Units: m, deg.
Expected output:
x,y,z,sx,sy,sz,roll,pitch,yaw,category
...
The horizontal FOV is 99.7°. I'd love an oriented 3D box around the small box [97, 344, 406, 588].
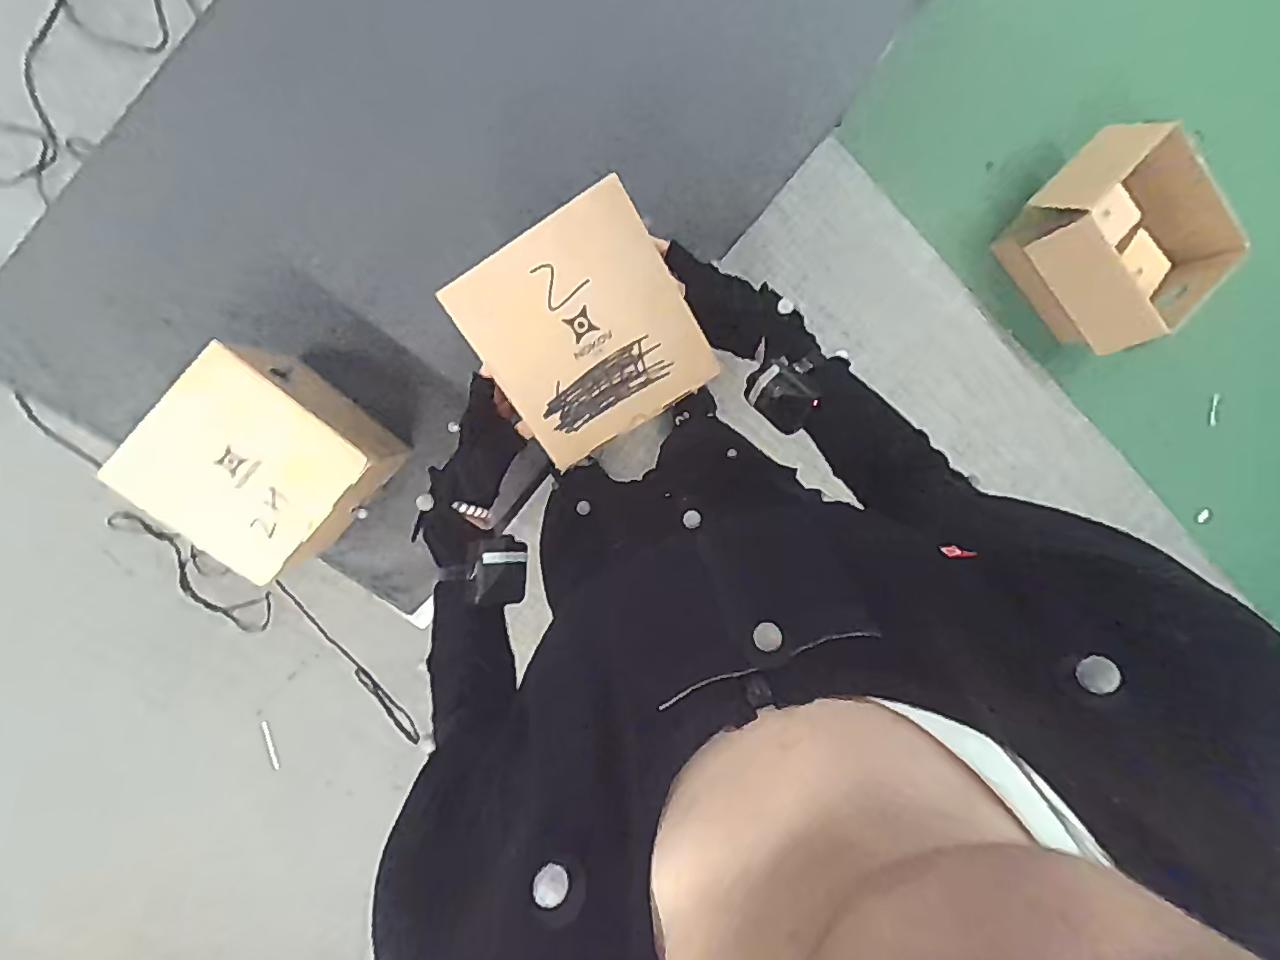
x,y,z,sx,sy,sz,roll,pitch,yaw,category
-0.391,-0.017,0.586,0.179,0.176,0.168,41,89,-11,small box
